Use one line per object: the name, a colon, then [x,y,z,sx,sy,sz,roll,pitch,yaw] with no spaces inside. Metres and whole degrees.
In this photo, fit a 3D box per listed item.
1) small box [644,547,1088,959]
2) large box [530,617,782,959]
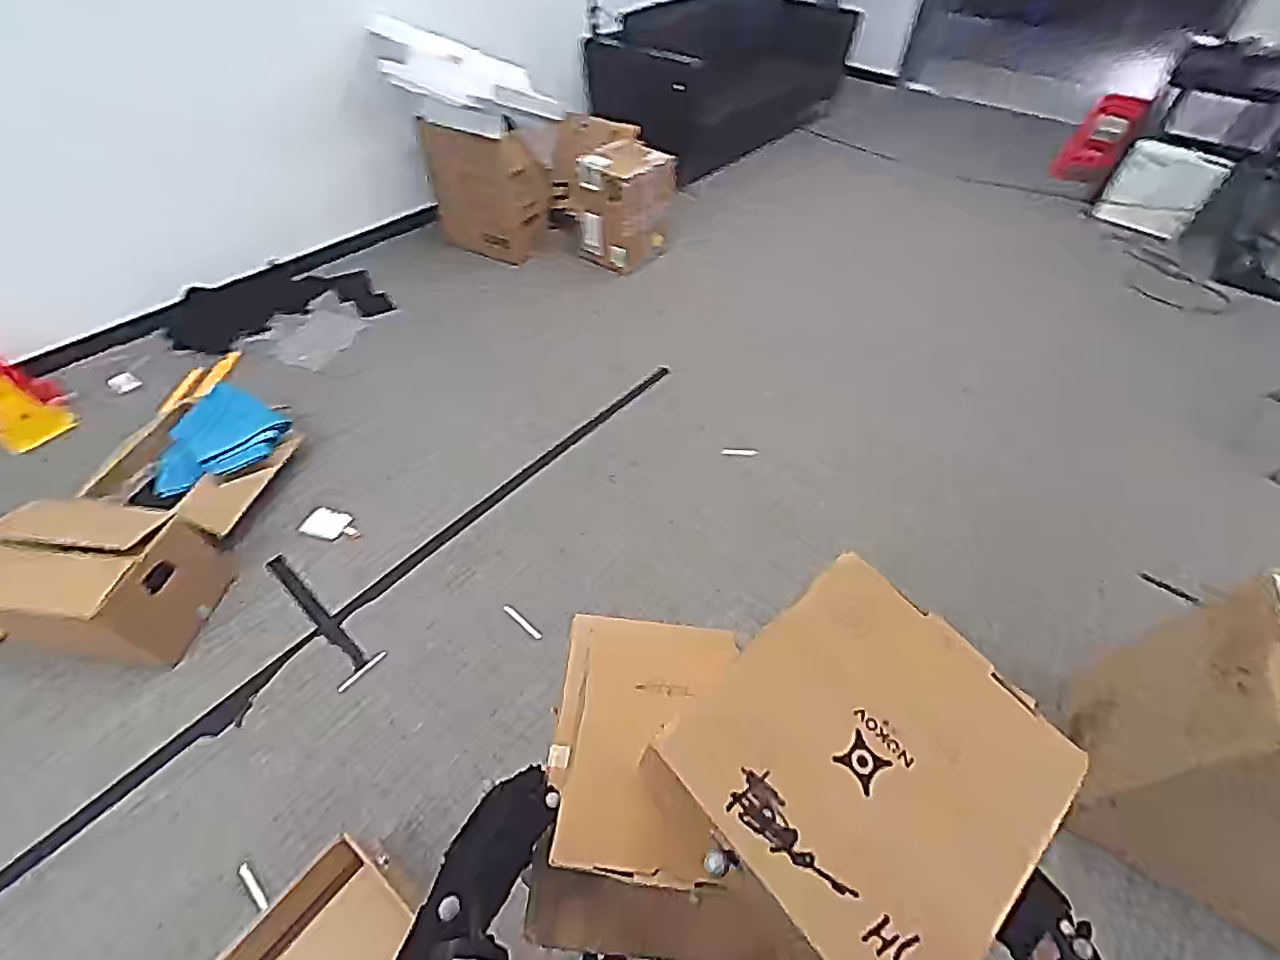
small box: [0.117,0.181,0.349,0.179,0.176,0.168,-36,66,-23]
large box: [0.091,0.391,0.698,0.408,0.320,0.320,6,57,-2]
